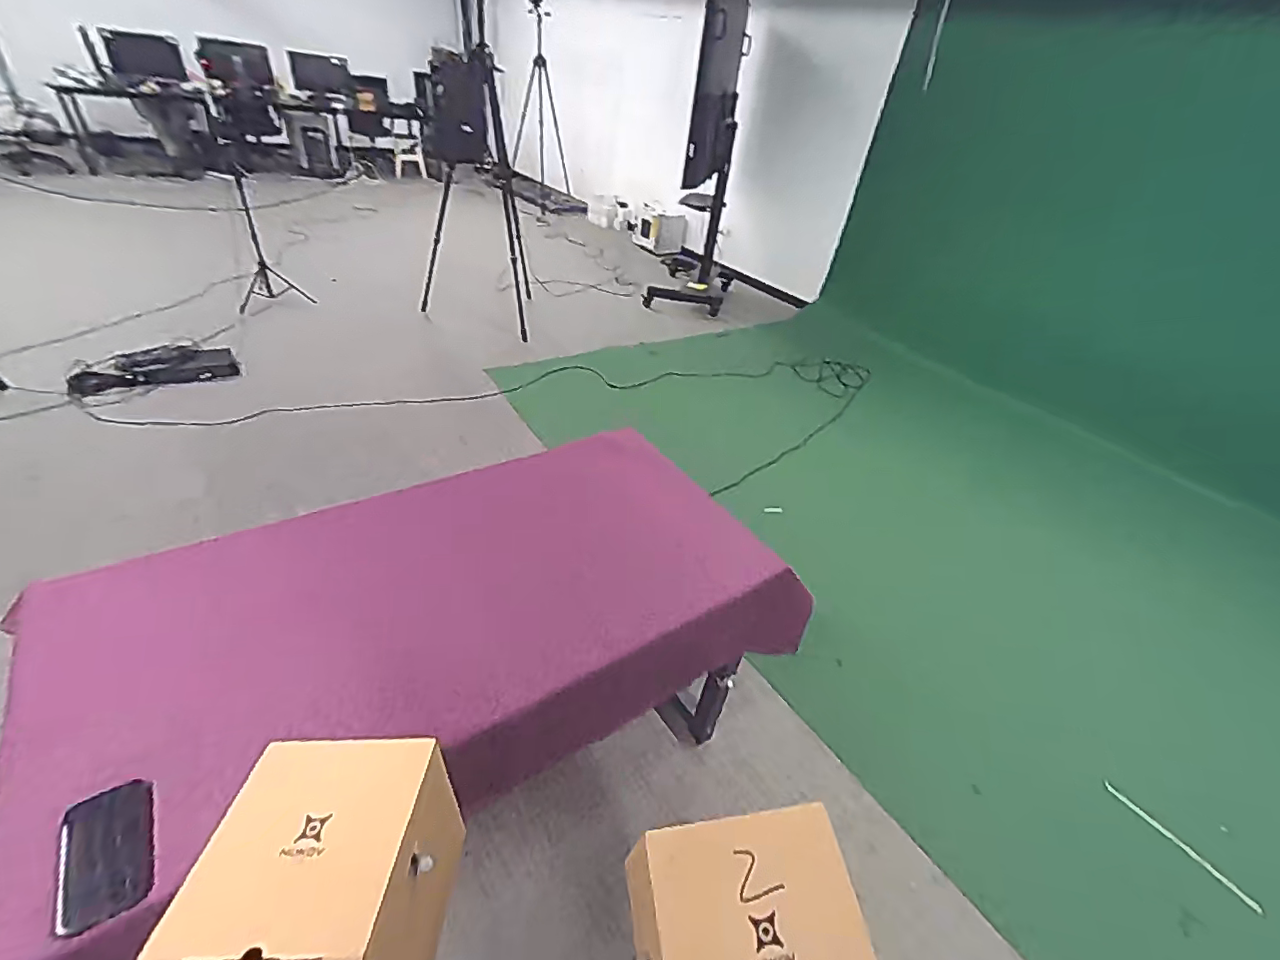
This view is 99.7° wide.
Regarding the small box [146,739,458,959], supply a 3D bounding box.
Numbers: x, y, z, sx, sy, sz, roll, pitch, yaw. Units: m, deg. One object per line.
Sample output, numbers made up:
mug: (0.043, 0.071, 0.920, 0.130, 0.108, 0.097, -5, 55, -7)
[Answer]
small box: (-0.279, 0.370, 0.502, 0.168, 0.176, 0.179, 0, 31, -1)
